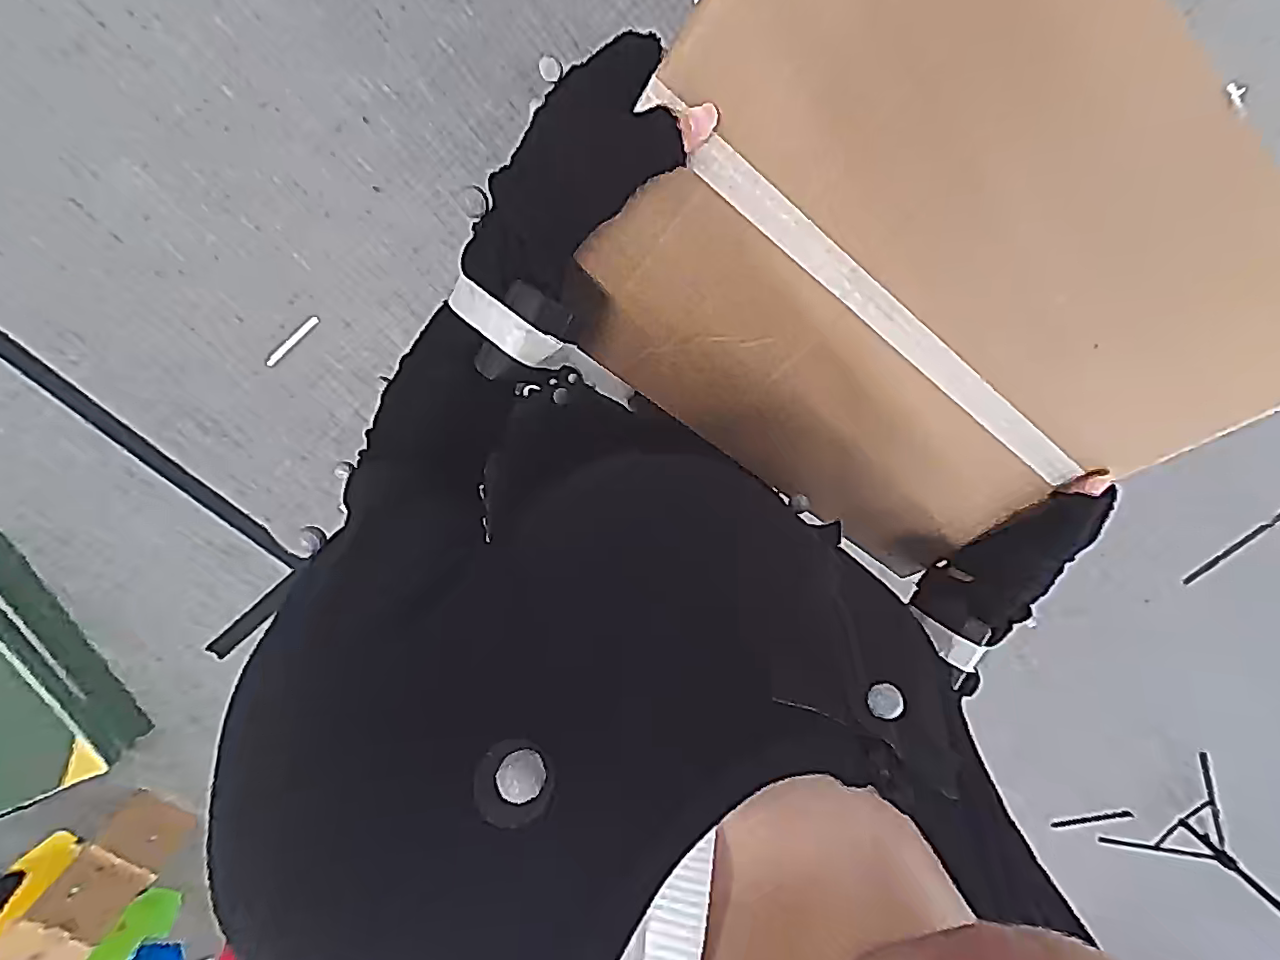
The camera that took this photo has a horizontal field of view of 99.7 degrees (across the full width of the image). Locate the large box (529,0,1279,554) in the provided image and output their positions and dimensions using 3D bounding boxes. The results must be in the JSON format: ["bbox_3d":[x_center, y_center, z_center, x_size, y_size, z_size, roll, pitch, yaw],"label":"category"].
[{"bbox_3d":[0.190,-0.207,0.456,0.408,0.320,0.320,32,133,-17],"label":"large box"}]
